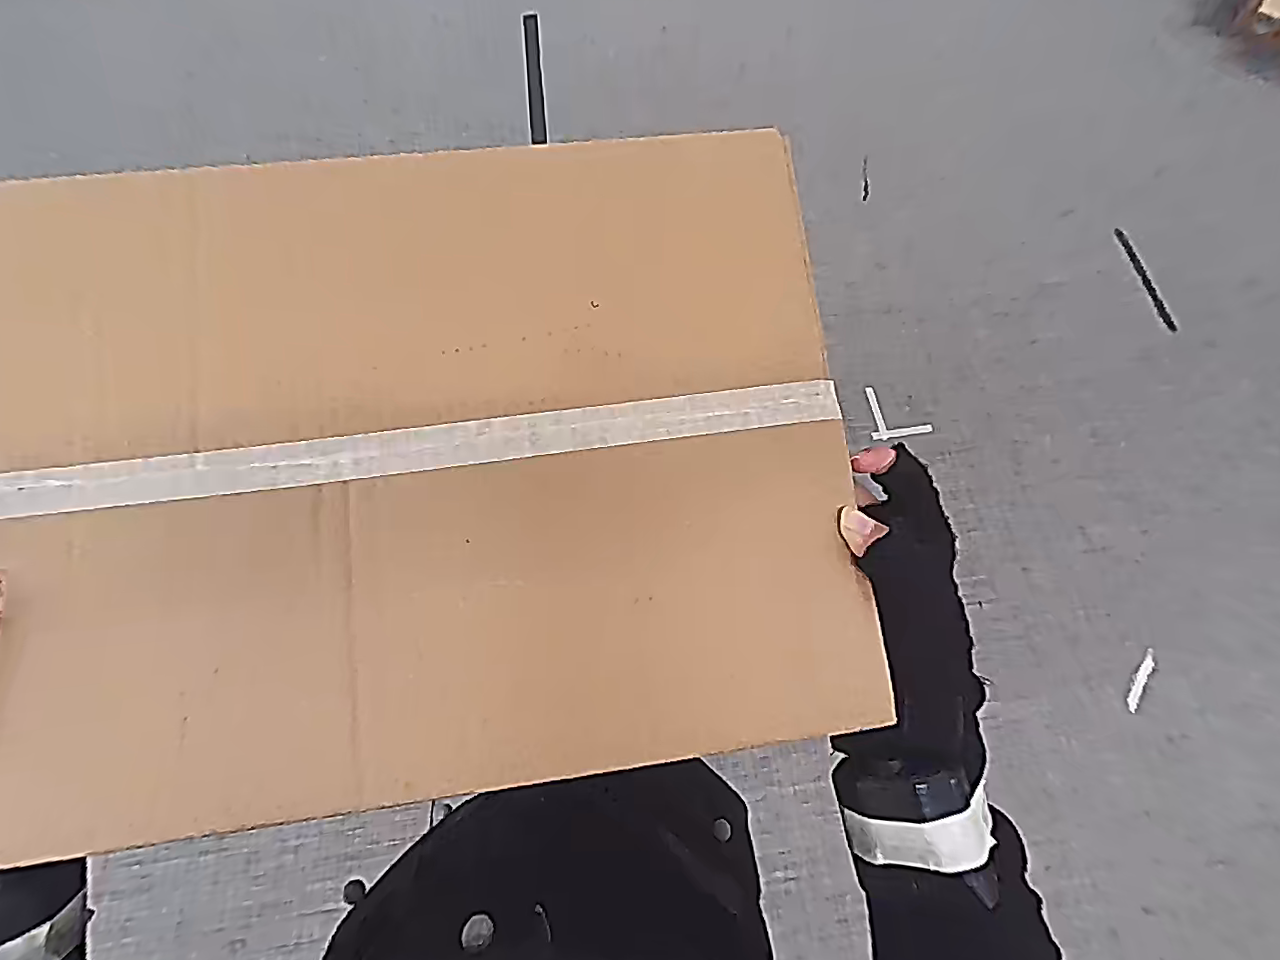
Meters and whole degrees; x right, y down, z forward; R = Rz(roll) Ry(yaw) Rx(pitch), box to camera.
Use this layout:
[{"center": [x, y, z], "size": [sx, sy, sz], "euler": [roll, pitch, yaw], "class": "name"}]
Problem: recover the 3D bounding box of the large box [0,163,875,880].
[{"center": [-0.107, 0.018, 0.413], "size": [0.408, 0.320, 0.320], "euler": [-7, 81, -4], "class": "large box"}]
